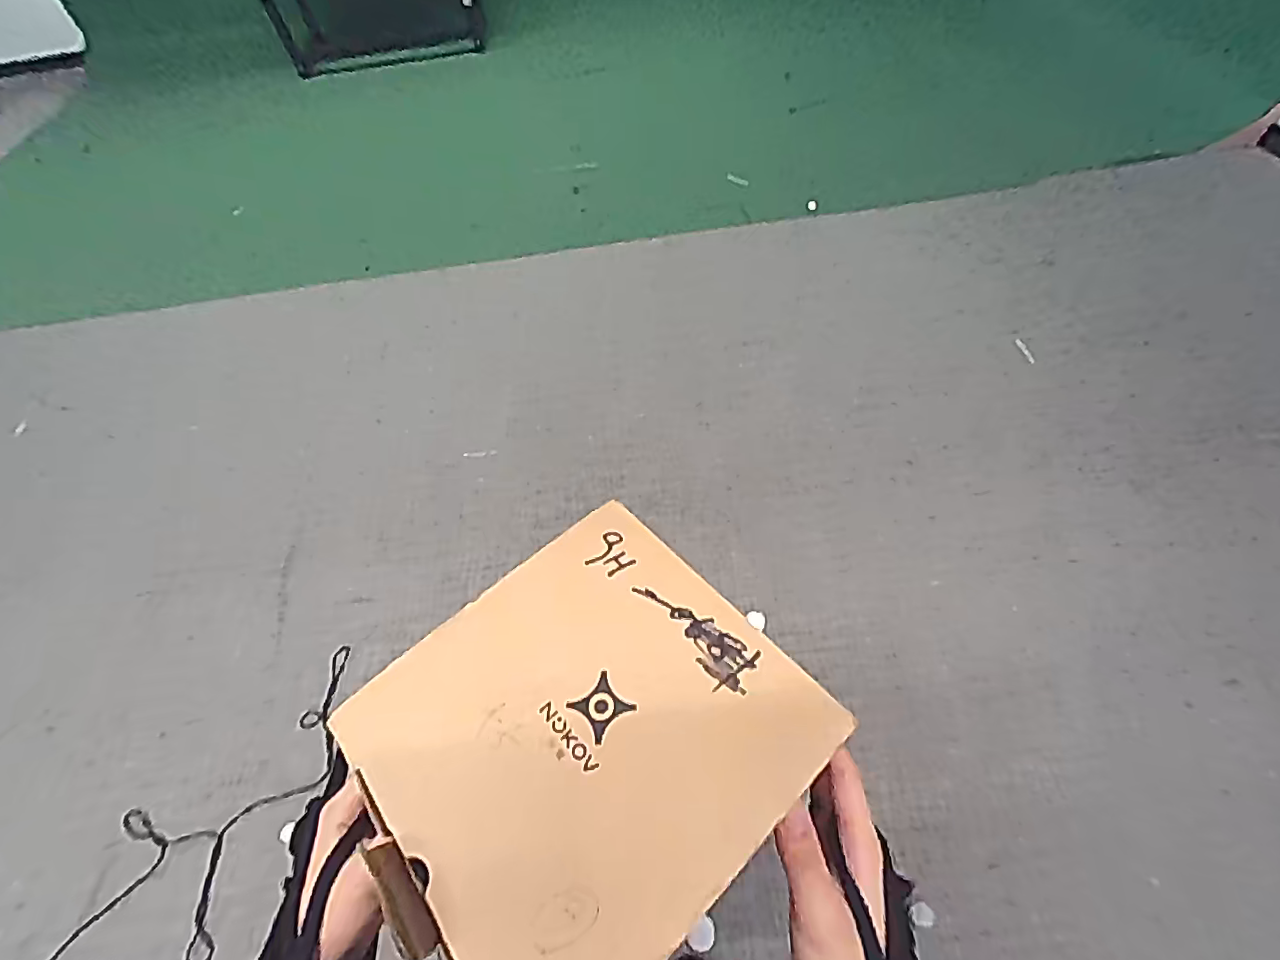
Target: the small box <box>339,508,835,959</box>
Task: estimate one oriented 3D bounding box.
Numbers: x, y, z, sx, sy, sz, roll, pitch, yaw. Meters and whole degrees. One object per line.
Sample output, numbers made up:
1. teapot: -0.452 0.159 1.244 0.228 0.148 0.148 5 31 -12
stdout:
1. small box: -0.022 0.157 0.311 0.179 0.176 0.168 -37 60 -21
